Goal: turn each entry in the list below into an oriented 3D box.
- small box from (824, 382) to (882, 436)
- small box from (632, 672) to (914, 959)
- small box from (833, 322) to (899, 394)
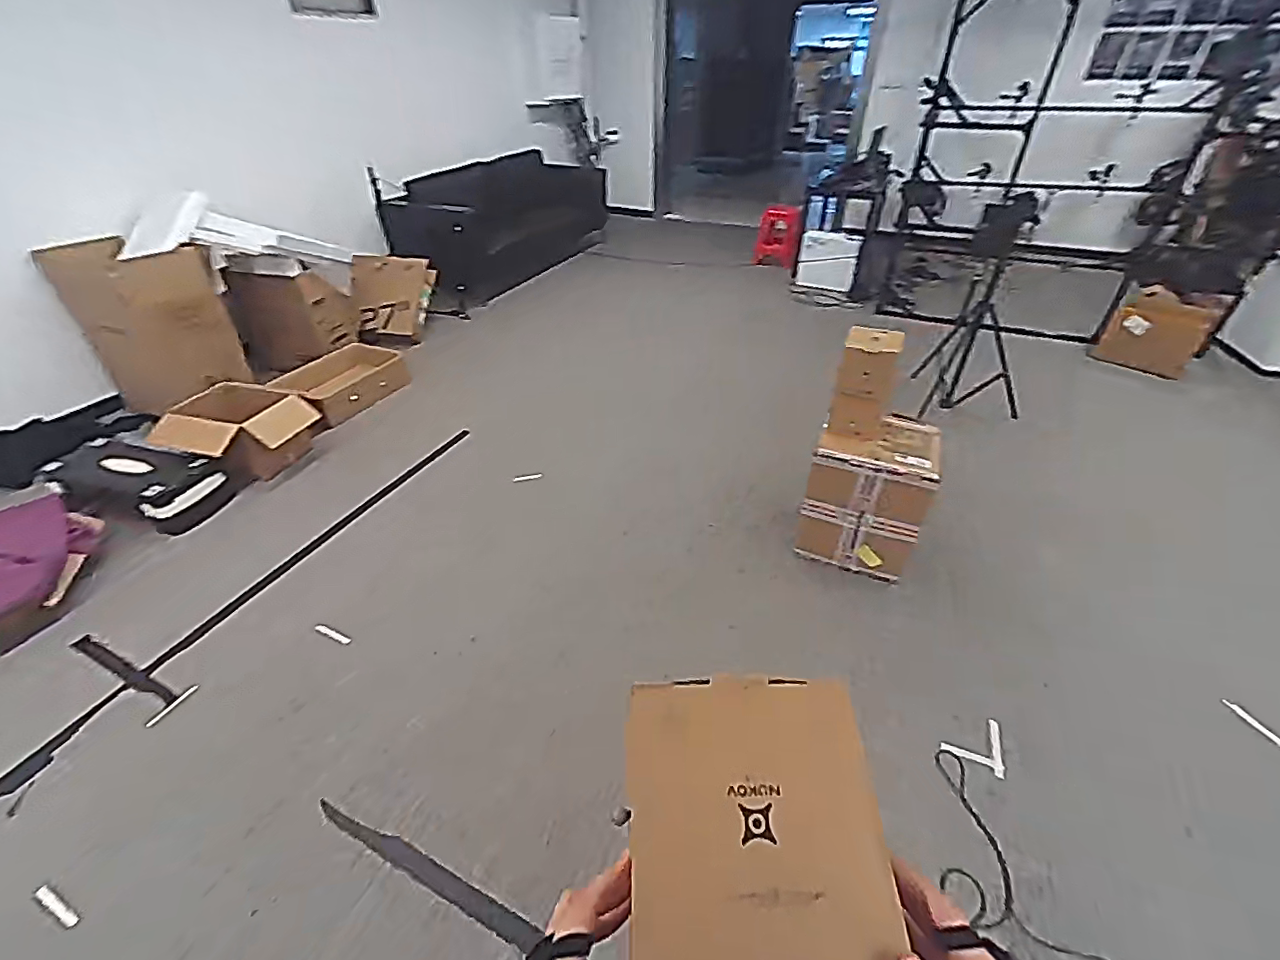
[{"bbox_3d":[0.755,-0.282,1.909,0.168,0.176,0.179,12,42,20],"label":"small box"},{"bbox_3d":[0.078,0.265,0.427,0.168,0.176,0.179,0,55,-1],"label":"small box"},{"bbox_3d":[0.749,-0.403,1.798,0.168,0.176,0.179,14,43,20],"label":"small box"}]
